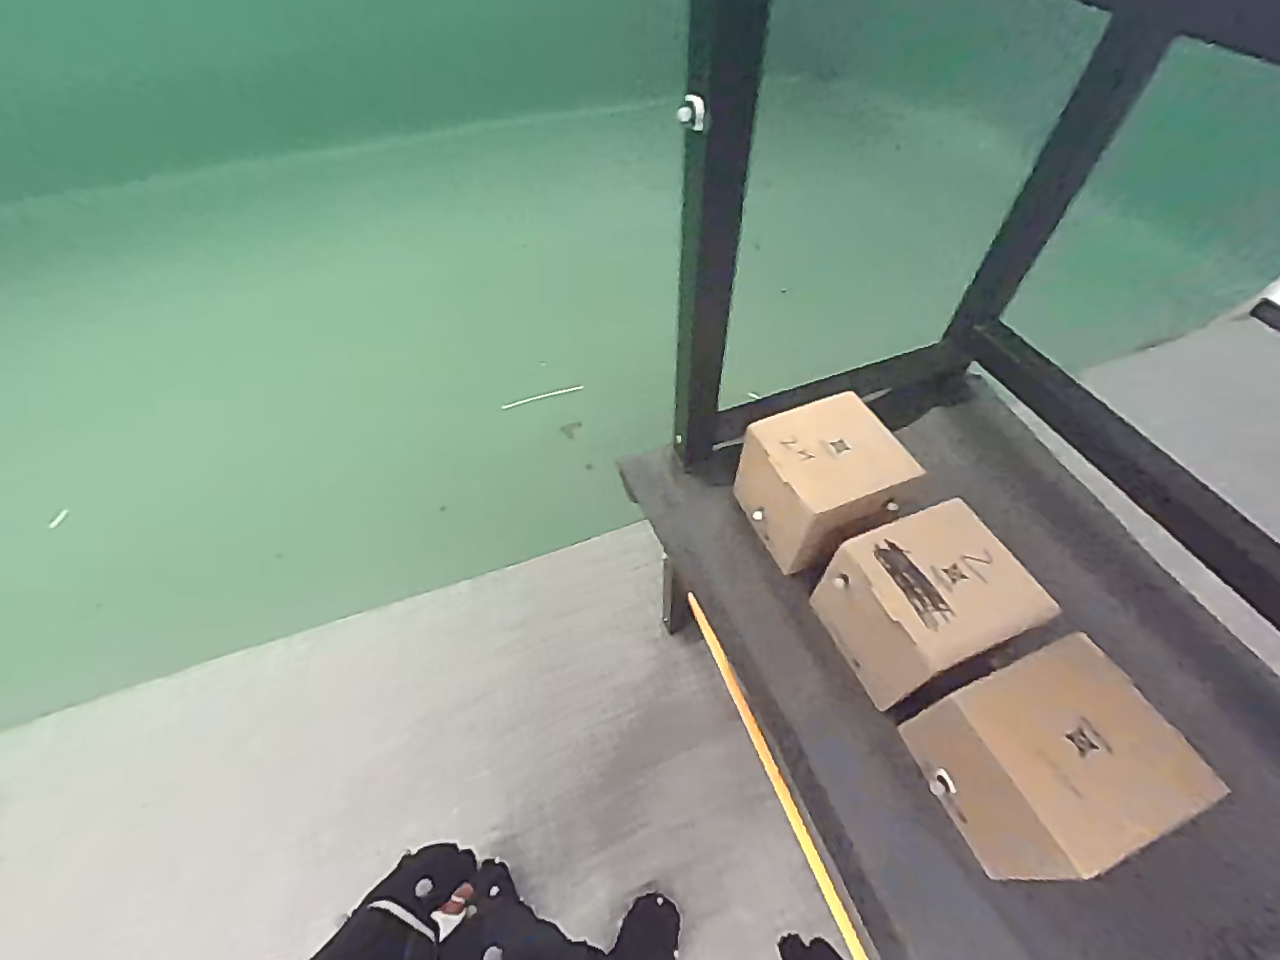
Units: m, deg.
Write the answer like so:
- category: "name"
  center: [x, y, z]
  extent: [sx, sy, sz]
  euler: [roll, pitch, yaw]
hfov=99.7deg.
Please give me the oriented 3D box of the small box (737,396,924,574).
- category: "small box"
  center: [0.262, 0.011, 0.792]
  extent: [0.179, 0.176, 0.168]
  euler: [-19, 56, -13]
